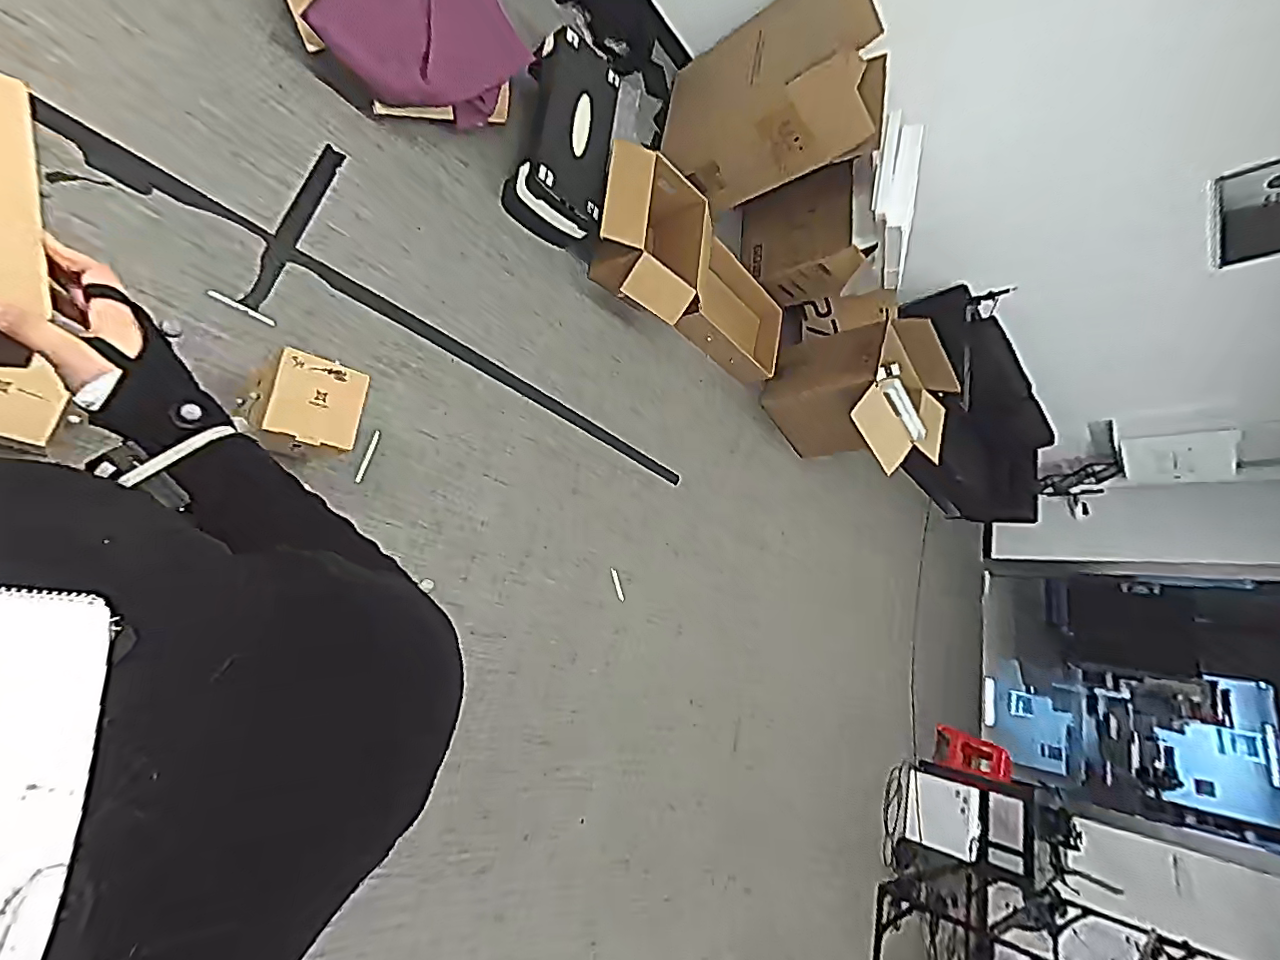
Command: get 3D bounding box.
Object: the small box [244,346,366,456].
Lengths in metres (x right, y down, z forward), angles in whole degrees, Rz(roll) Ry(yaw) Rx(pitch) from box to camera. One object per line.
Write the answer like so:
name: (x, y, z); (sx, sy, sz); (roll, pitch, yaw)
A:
small box: (-0.718, -0.157, 1.155); (0.168, 0.176, 0.179); (20, 73, -43)

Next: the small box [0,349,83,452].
small box: (-1.140, -0.157, 0.956); (0.179, 0.176, 0.168); (26, 68, -42)

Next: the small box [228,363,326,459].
small box: (-0.831, -0.153, 1.273); (0.179, 0.176, 0.168); (22, 71, -42)

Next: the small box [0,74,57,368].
small box: (-0.541, -0.186, 0.372); (0.168, 0.176, 0.179); (-8, 93, -52)
